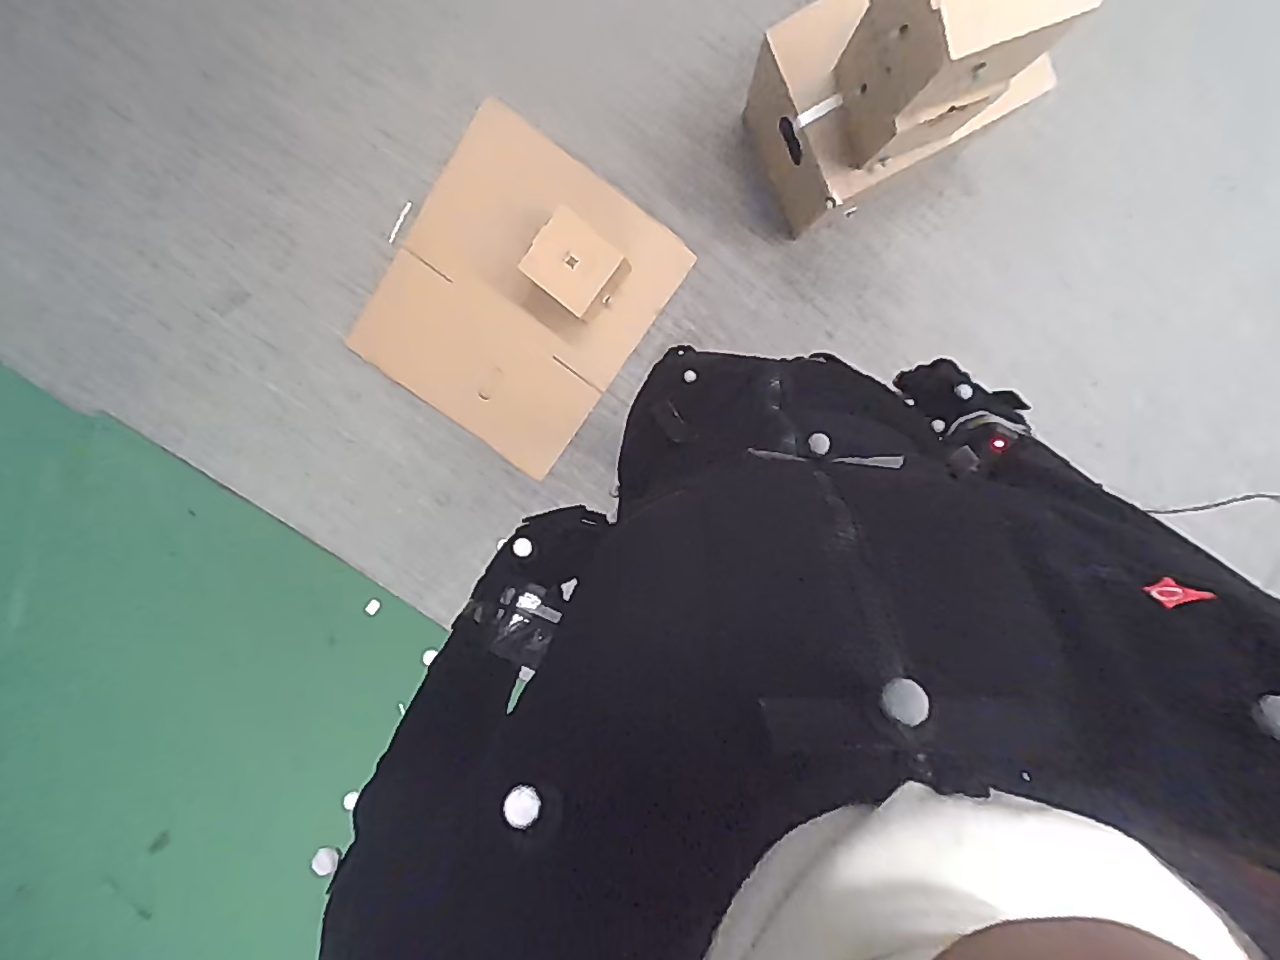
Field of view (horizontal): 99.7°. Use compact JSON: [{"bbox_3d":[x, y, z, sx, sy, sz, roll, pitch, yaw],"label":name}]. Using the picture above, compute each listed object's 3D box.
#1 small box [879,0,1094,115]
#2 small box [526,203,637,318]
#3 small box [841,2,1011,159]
[{"bbox_3d":[0.426,-0.611,0.688,0.179,0.176,0.168,-19,99,8],"label":"small box"},{"bbox_3d":[-0.125,-0.486,1.231,0.179,0.176,0.168,38,104,-5],"label":"small box"},{"bbox_3d":[0.437,-0.635,0.848,0.168,0.176,0.179,-18,101,8],"label":"small box"}]
